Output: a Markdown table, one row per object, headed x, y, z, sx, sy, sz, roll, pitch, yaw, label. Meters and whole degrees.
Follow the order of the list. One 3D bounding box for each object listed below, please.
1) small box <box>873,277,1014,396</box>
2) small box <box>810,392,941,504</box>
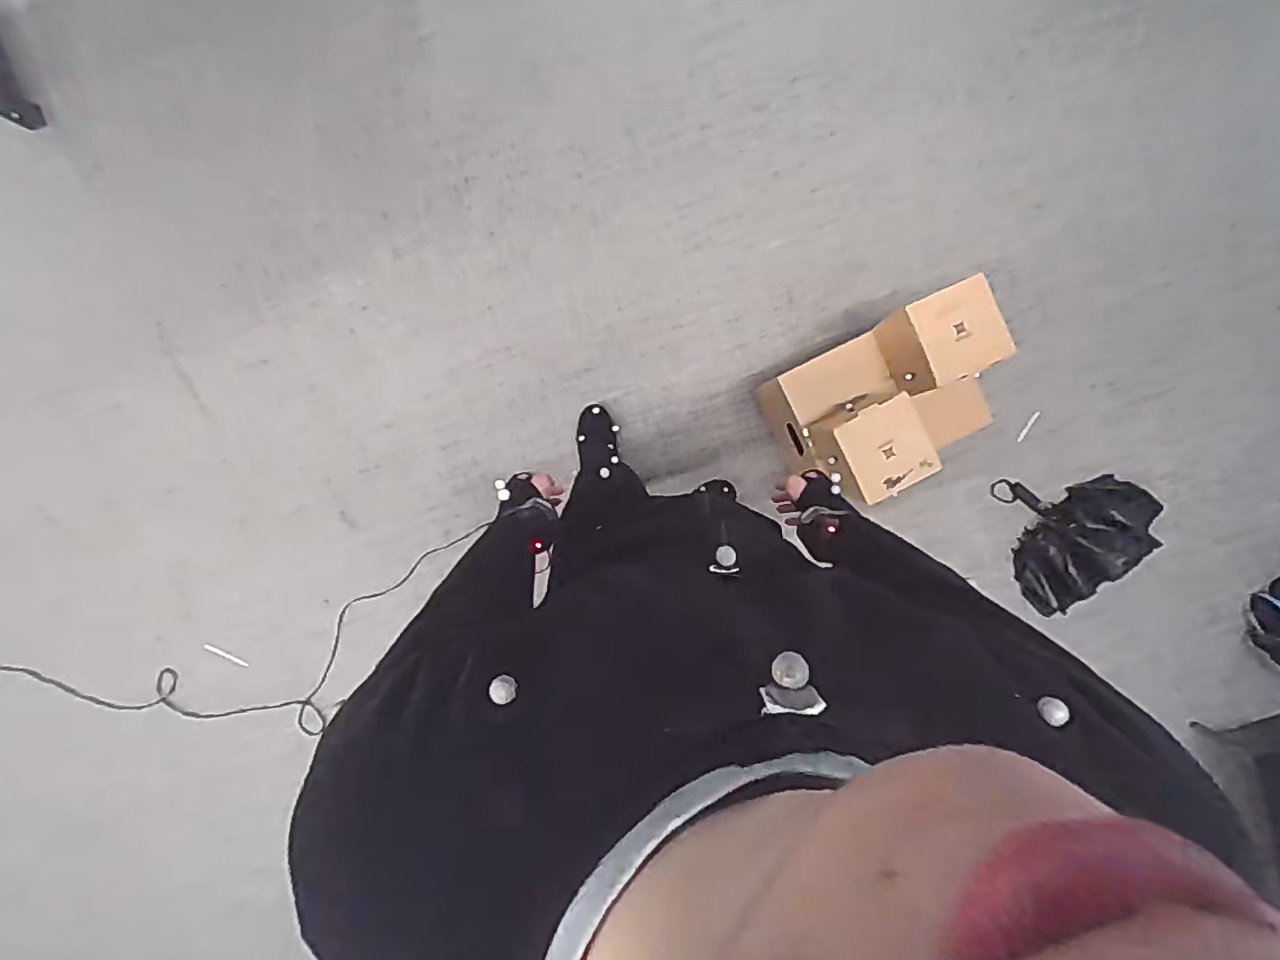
| x | y | z | sx | sy | sz | roll | pitch | yaw | label |
| --- | --- | --- | --- | --- | --- | --- | --- | --- | --- |
| 0.624 | -0.287 | 1.132 | 0.168 | 0.176 | 0.179 | -24 | 89 | 1 | small box |
| 0.486 | -0.068 | 1.147 | 0.168 | 0.176 | 0.179 | -27 | 94 | 2 | small box |
